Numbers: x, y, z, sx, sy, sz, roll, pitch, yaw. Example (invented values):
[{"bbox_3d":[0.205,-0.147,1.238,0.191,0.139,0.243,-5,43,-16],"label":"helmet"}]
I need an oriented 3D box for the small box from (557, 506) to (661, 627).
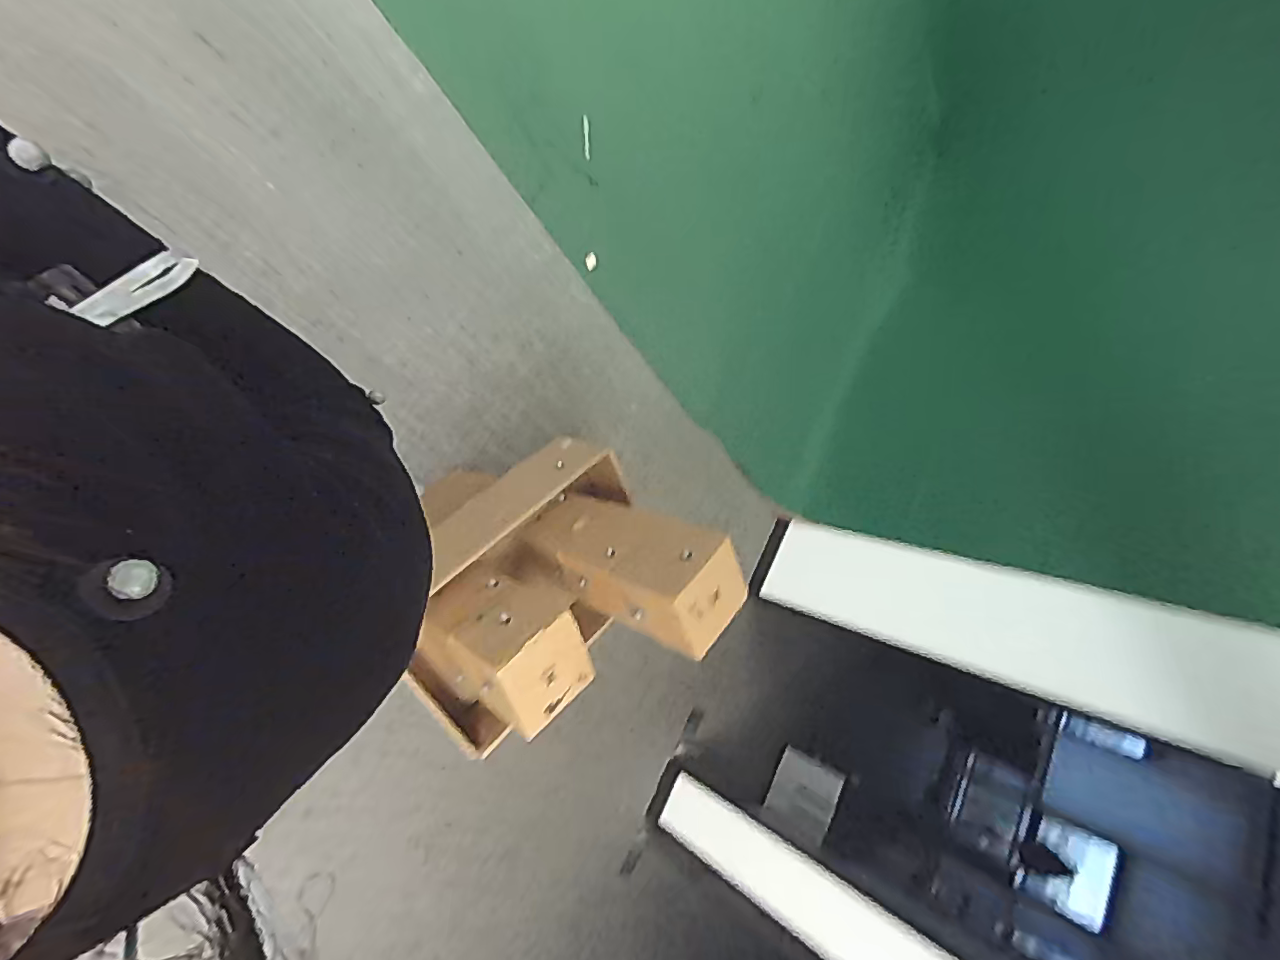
[{"bbox_3d":[-0.047,0.178,1.171,0.179,0.176,0.168,-42,127,-30],"label":"small box"}]

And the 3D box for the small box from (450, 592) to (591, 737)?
[{"bbox_3d":[-0.225,0.331,1.015,0.168,0.176,0.179,-36,123,-35],"label":"small box"}]

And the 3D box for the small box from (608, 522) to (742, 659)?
[{"bbox_3d":[0.068,0.204,1.055,0.179,0.176,0.168,-43,127,-30],"label":"small box"}]
